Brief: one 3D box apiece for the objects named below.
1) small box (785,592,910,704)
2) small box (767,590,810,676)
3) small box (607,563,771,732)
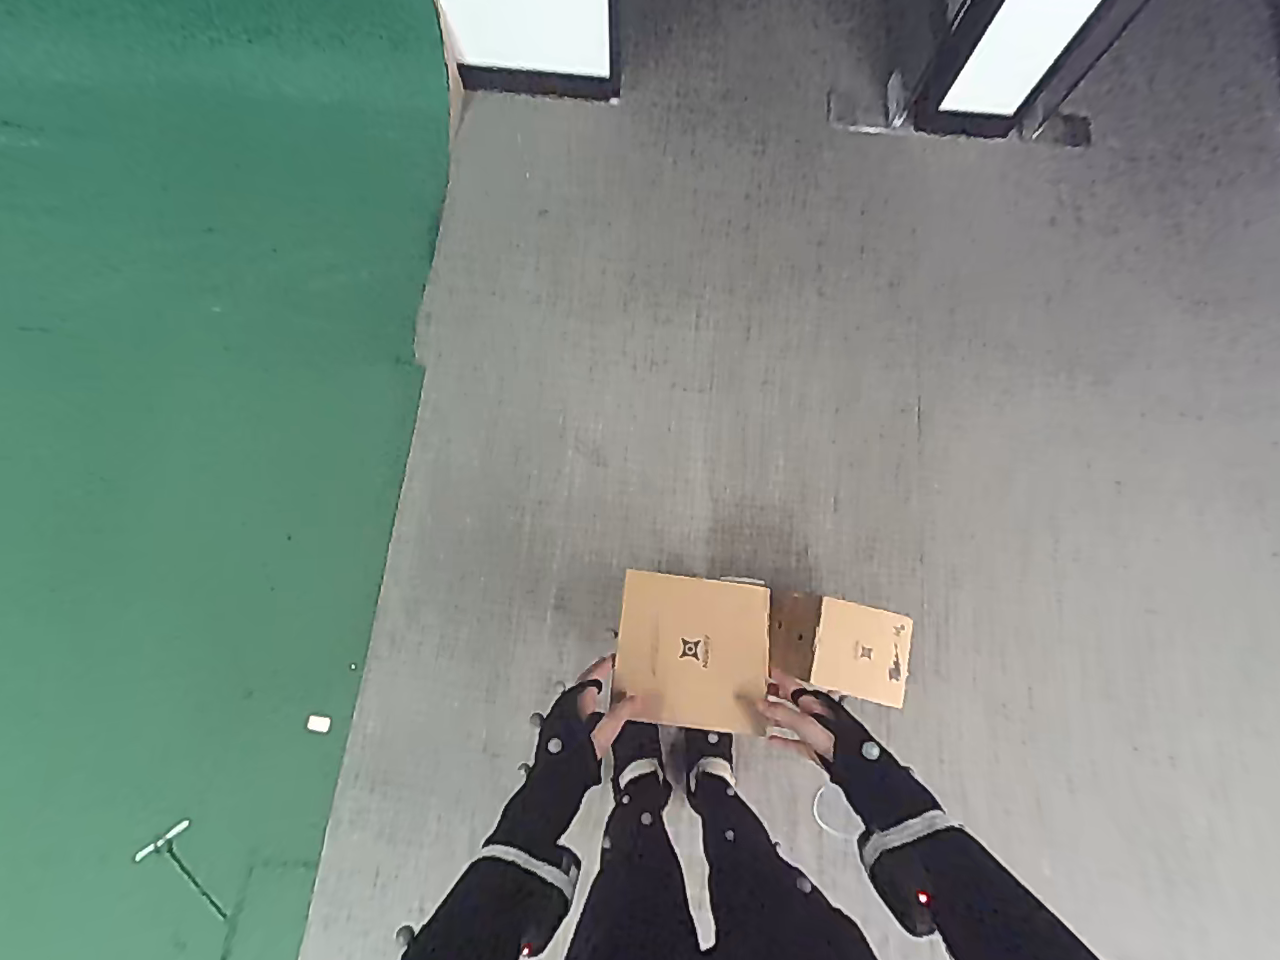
[{"bbox_3d":[0.402,0.327,1.073,0.179,0.176,0.168,14,77,3],"label":"small box"},{"bbox_3d":[0.384,0.360,1.233,0.168,0.176,0.179,14,77,2],"label":"small box"},{"bbox_3d":[0.055,0.214,0.686,0.179,0.176,0.168,8,68,0],"label":"small box"}]
